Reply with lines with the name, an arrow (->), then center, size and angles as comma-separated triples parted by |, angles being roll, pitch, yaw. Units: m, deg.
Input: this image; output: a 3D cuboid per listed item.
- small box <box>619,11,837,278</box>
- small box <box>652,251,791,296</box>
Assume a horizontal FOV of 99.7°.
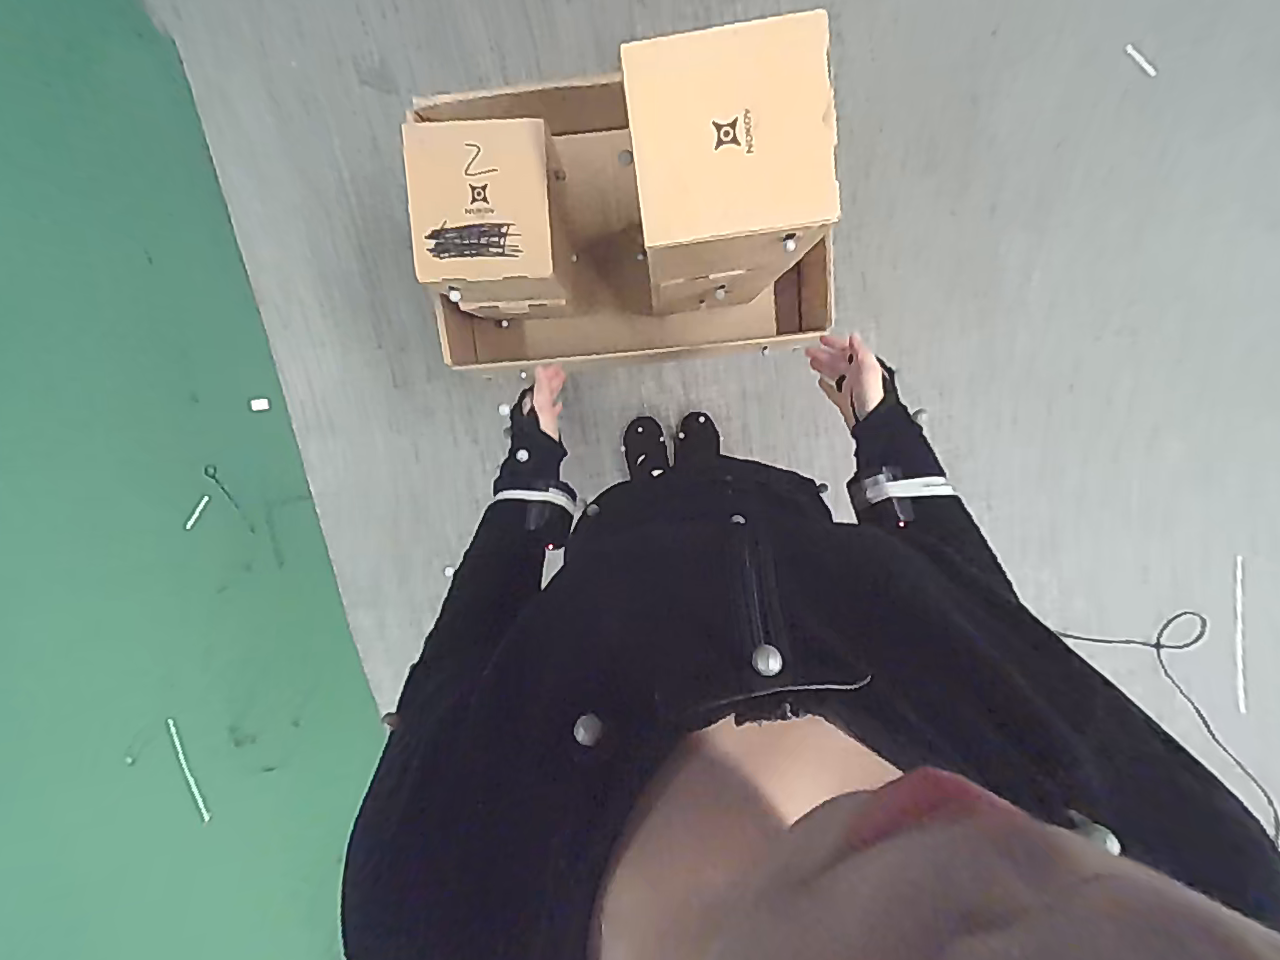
small box -> 0.081, -0.312, 0.544 | 0.179, 0.176, 0.168 | -7, 100, 3
small box -> 0.090, -0.344, 0.705 | 0.168, 0.176, 0.179 | -8, 101, 3
